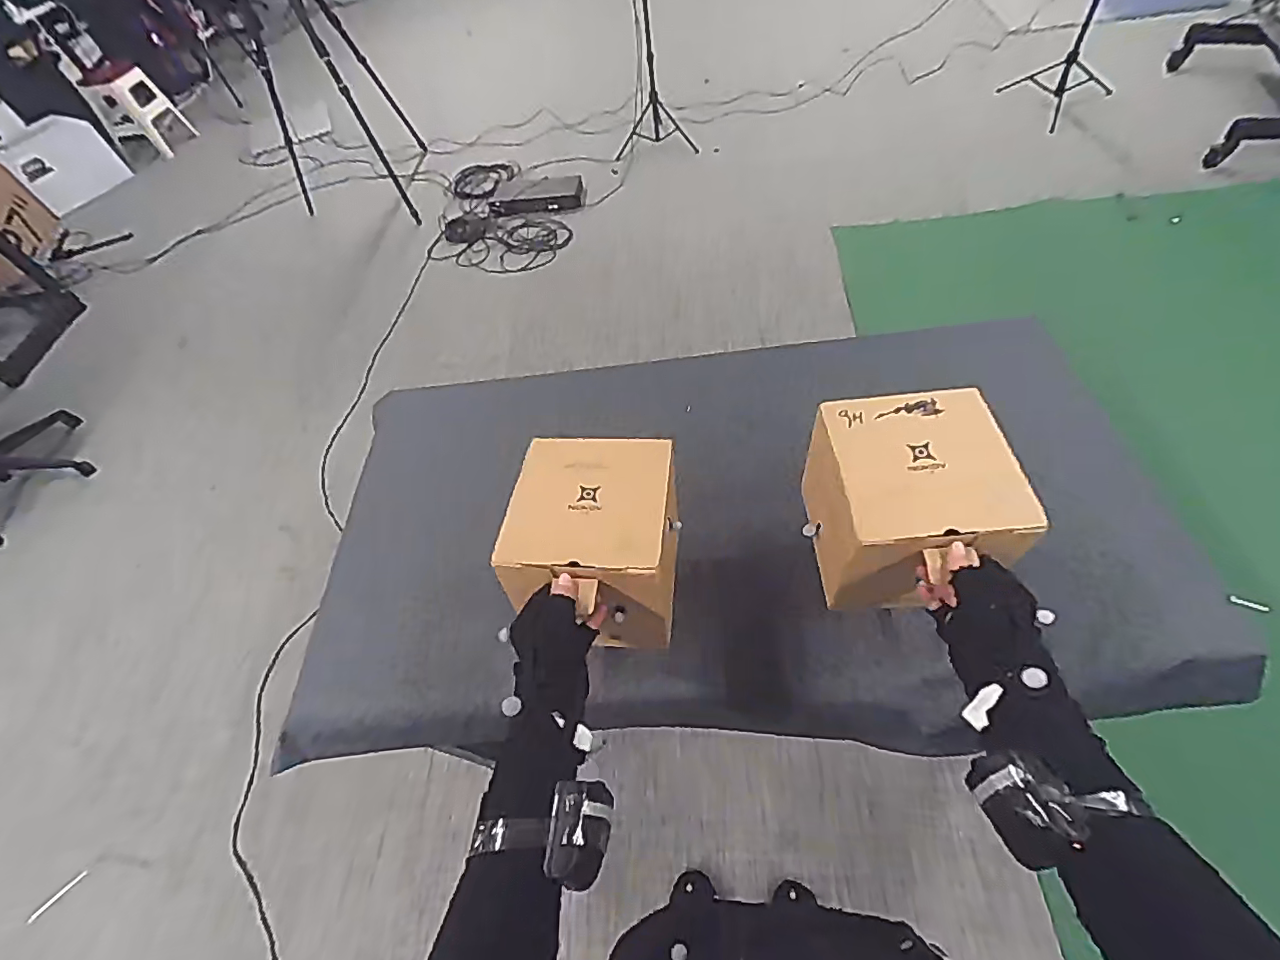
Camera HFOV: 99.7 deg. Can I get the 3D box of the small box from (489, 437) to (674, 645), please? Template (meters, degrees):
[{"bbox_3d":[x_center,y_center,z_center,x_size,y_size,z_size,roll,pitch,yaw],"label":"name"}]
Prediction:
[{"bbox_3d":[-0.049,0.071,0.614,0.168,0.176,0.179,2,48,7],"label":"small box"}]
